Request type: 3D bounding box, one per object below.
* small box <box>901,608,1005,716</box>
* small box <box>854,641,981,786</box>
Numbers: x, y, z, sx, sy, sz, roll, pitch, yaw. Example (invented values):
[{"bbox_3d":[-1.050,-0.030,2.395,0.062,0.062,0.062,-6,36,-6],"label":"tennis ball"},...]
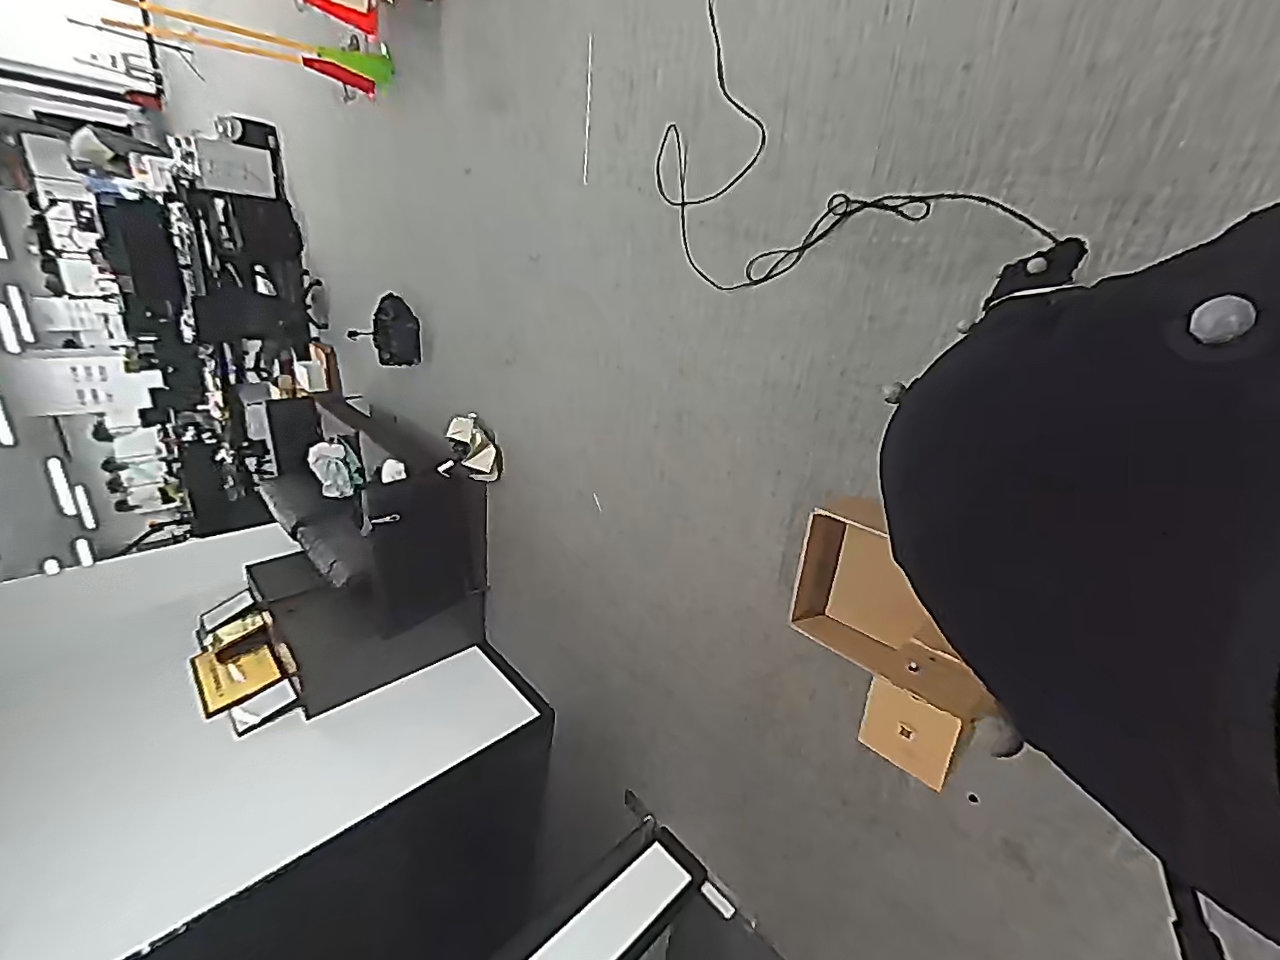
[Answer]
[{"bbox_3d":[0.683,0.420,1.208,0.168,0.176,0.179,25,120,41],"label":"small box"},{"bbox_3d":[0.566,0.462,1.101,0.168,0.176,0.179,24,119,43],"label":"small box"}]
